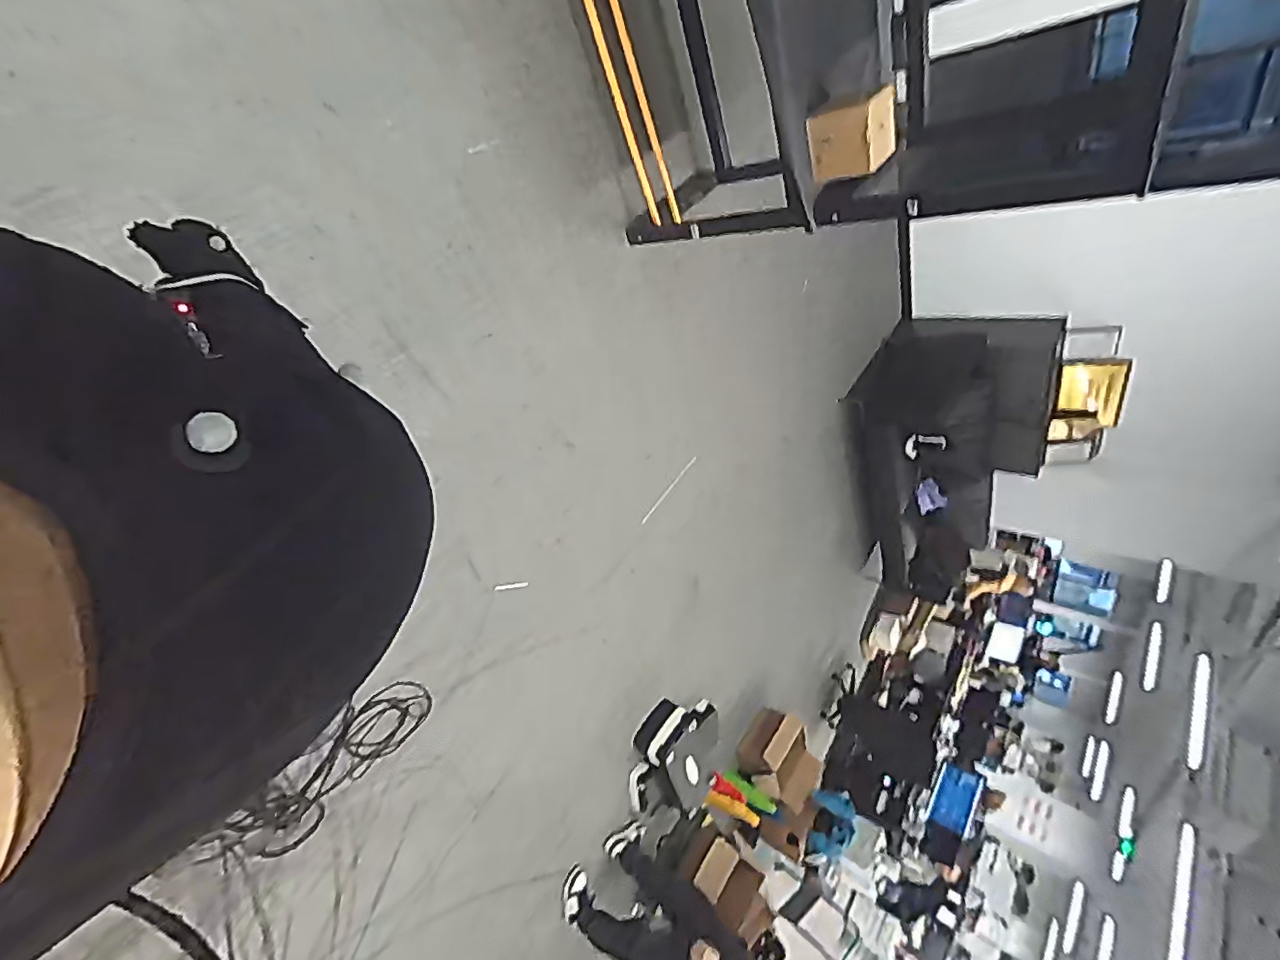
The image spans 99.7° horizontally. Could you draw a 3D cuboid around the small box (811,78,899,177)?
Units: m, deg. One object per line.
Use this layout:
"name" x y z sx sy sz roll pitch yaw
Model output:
"small box" 0.588 -0.956 1.474 0.179 0.176 0.168 -49 133 -28
